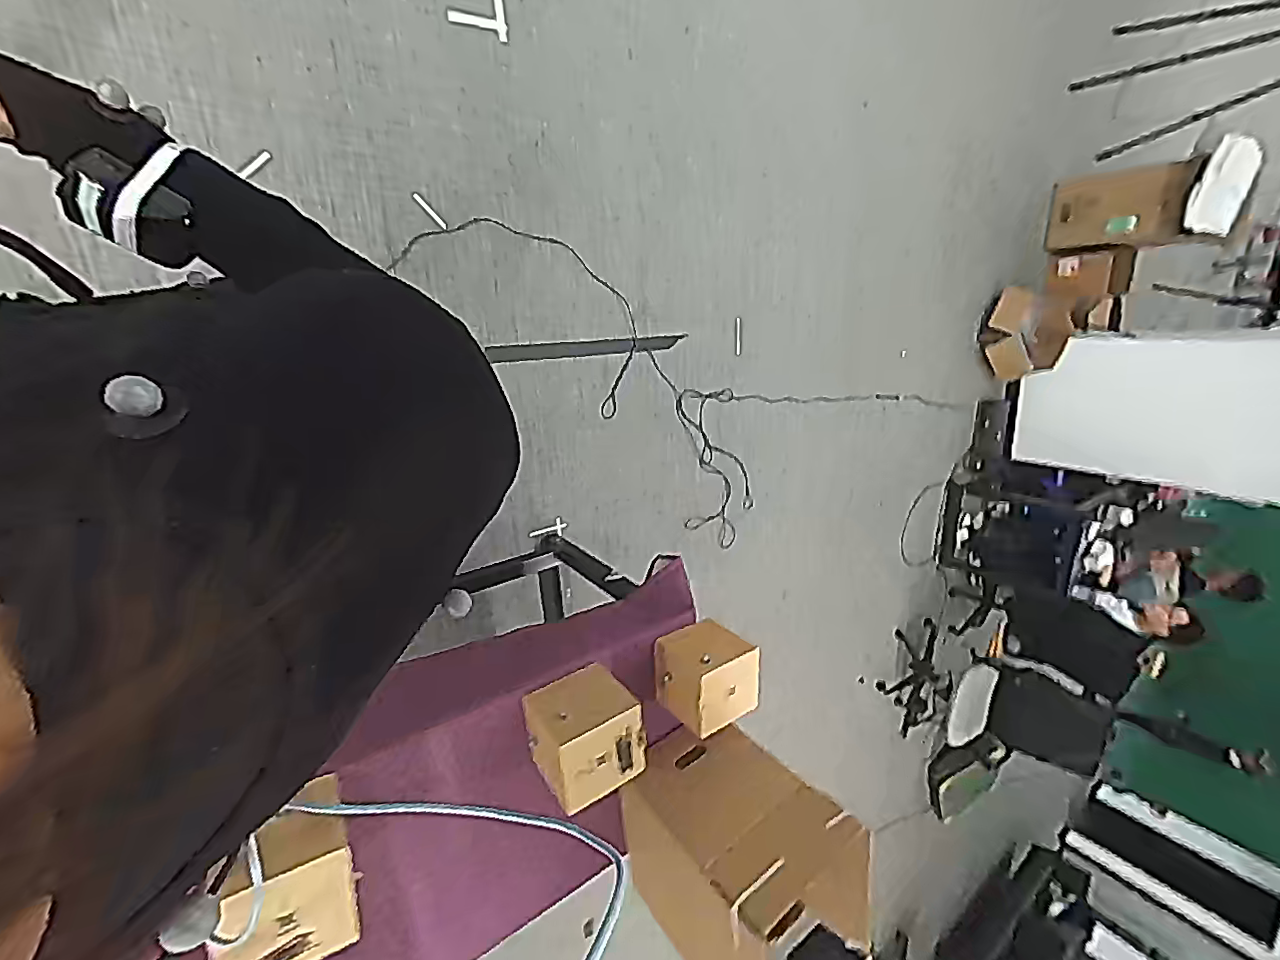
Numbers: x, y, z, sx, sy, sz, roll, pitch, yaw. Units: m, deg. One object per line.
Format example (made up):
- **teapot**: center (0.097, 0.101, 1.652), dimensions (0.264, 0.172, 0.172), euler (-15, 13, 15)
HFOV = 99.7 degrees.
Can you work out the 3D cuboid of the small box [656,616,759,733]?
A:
- **small box**: center (0.155, 0.444, 1.268), dimensions (0.179, 0.176, 0.168), euler (-14, 111, -31)
